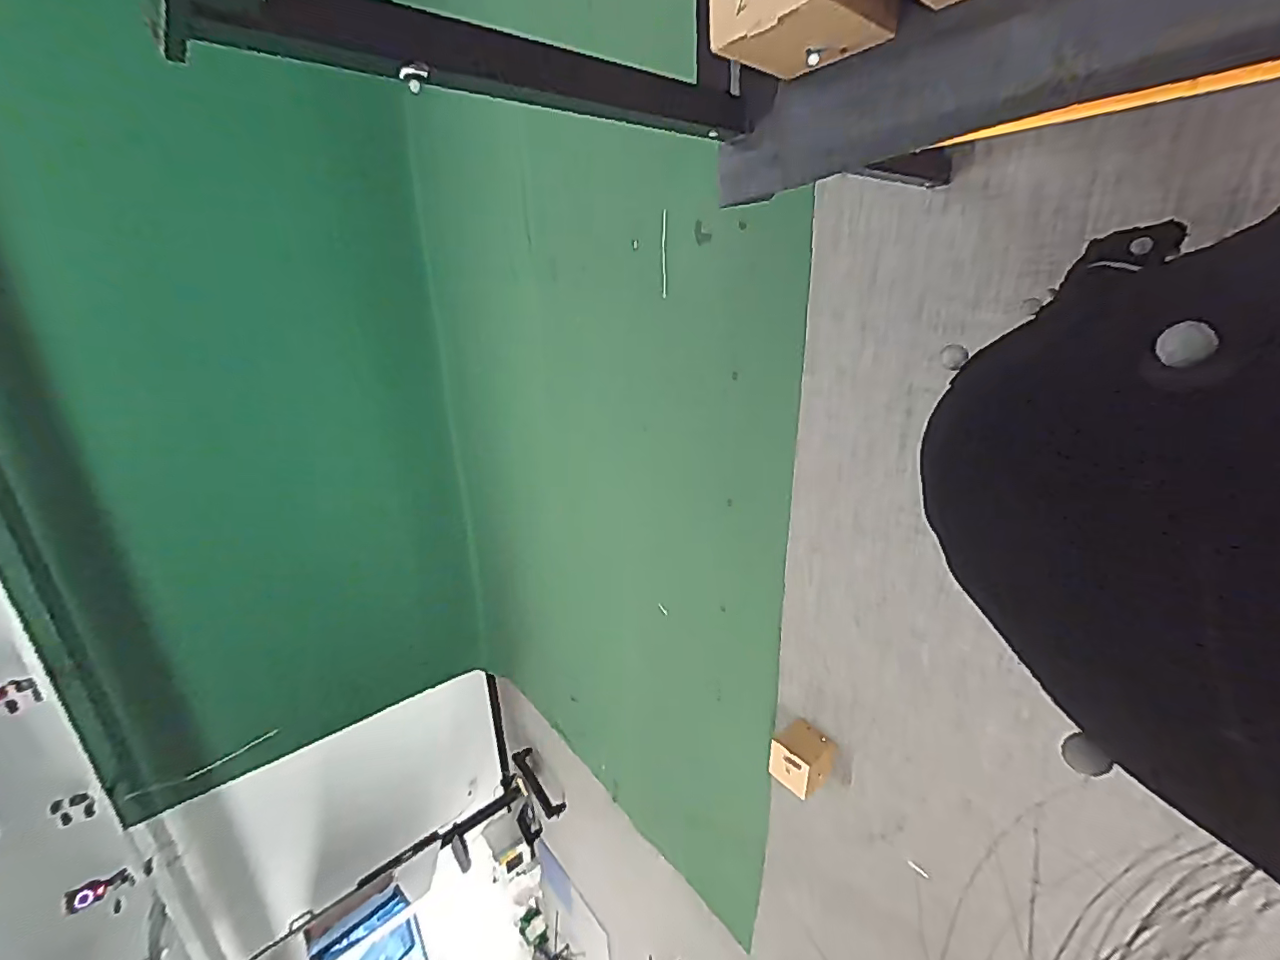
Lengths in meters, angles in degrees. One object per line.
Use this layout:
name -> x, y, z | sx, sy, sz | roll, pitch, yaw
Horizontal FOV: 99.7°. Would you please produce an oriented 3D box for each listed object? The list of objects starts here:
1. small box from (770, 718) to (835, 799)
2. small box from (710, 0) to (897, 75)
small box -> 0.614, 1.042, 2.037 | 0.168, 0.176, 0.179 | 23, 122, 46
small box -> 0.204, -0.641, 0.664 | 0.168, 0.176, 0.179 | 18, 117, 48
